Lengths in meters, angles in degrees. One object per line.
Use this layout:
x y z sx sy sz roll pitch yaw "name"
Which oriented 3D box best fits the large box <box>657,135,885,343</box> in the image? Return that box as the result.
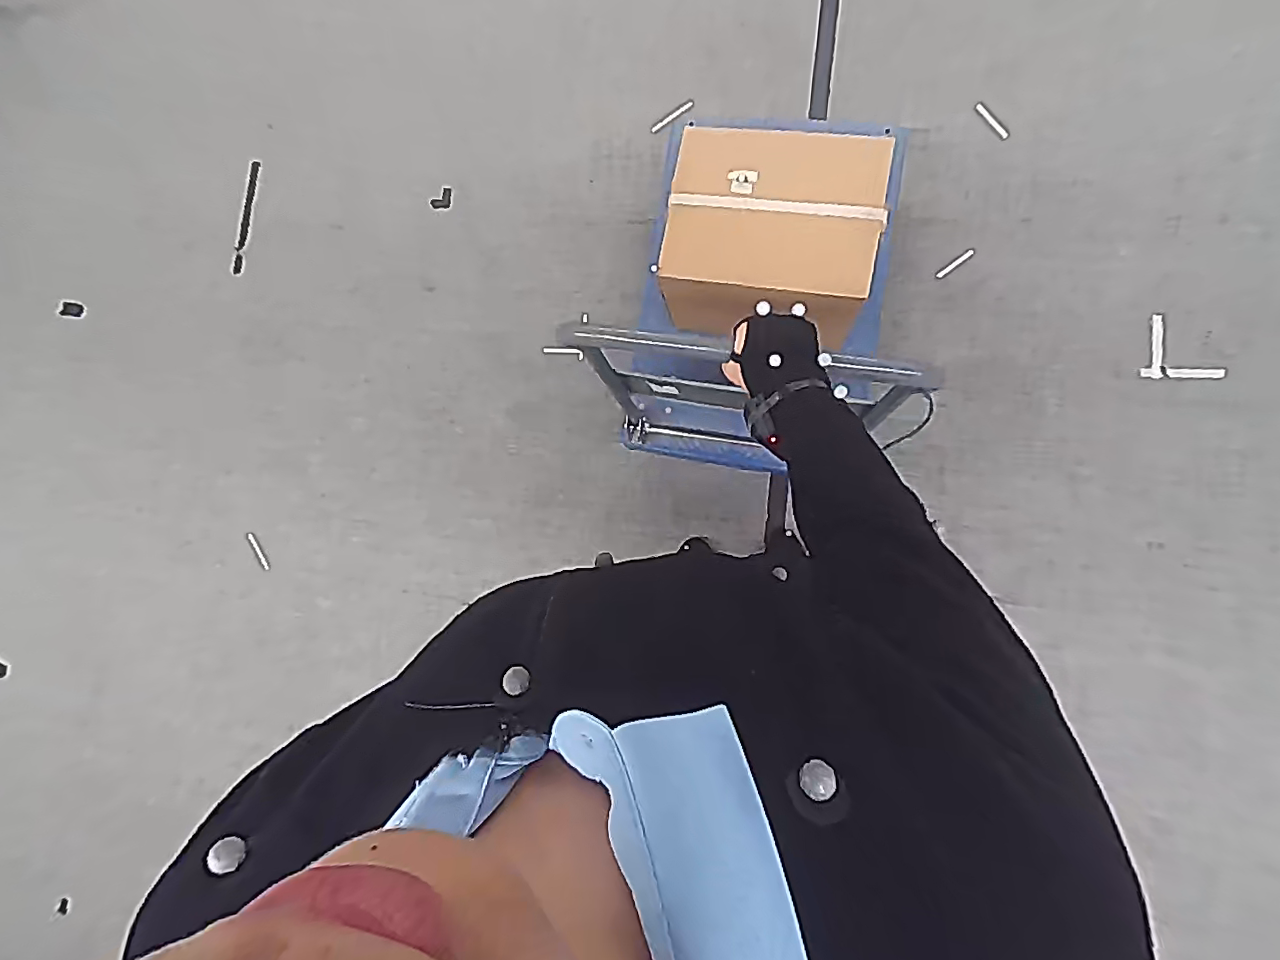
0.281 -0.514 1.201 0.408 0.320 0.320 10 87 12 "large box"
